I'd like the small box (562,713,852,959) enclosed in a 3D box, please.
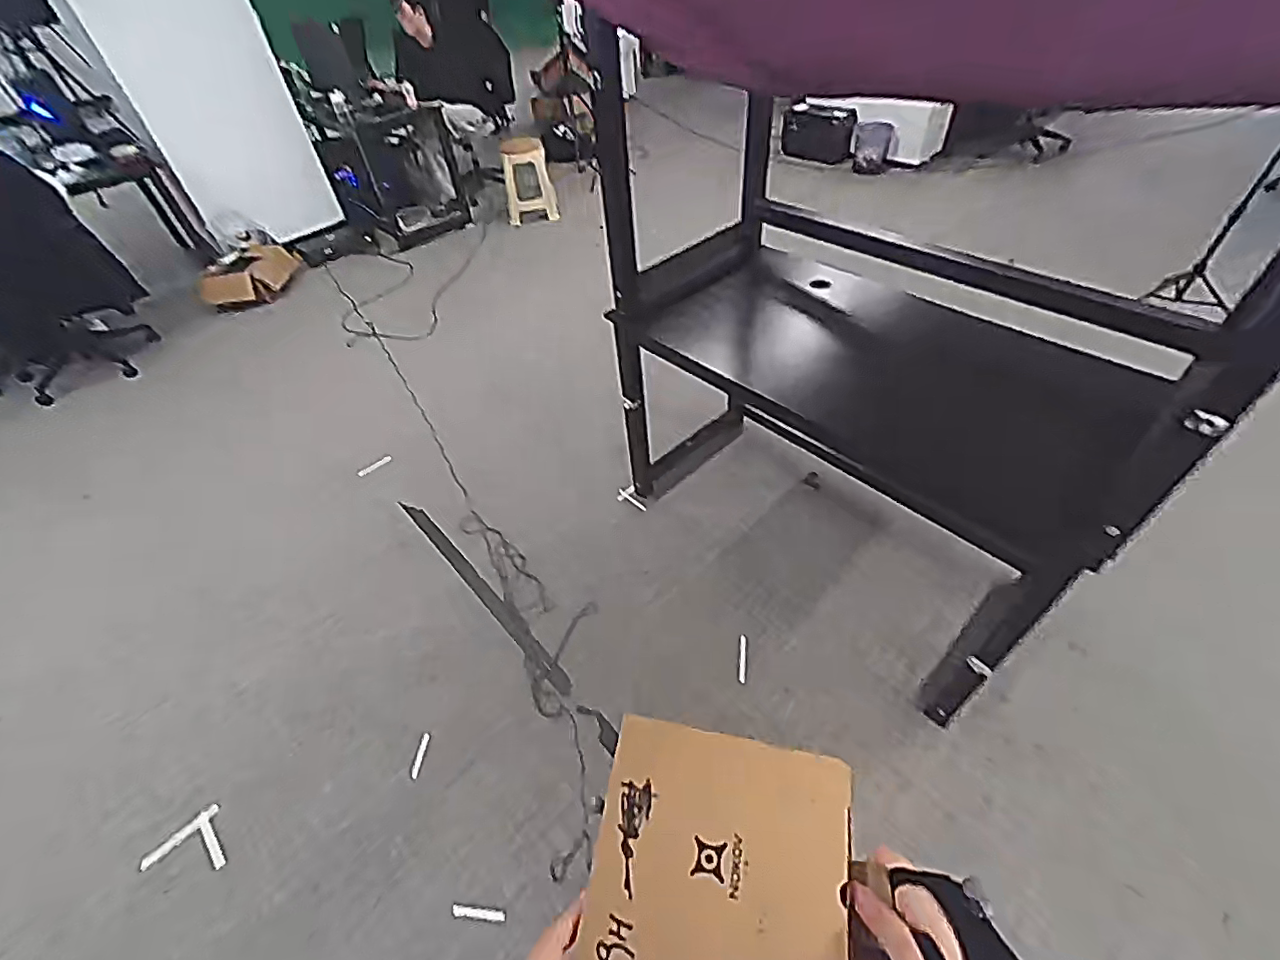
[{"bbox_3d":[0.051,0.304,0.425,0.179,0.176,0.168,10,54,7],"label":"small box"}]
